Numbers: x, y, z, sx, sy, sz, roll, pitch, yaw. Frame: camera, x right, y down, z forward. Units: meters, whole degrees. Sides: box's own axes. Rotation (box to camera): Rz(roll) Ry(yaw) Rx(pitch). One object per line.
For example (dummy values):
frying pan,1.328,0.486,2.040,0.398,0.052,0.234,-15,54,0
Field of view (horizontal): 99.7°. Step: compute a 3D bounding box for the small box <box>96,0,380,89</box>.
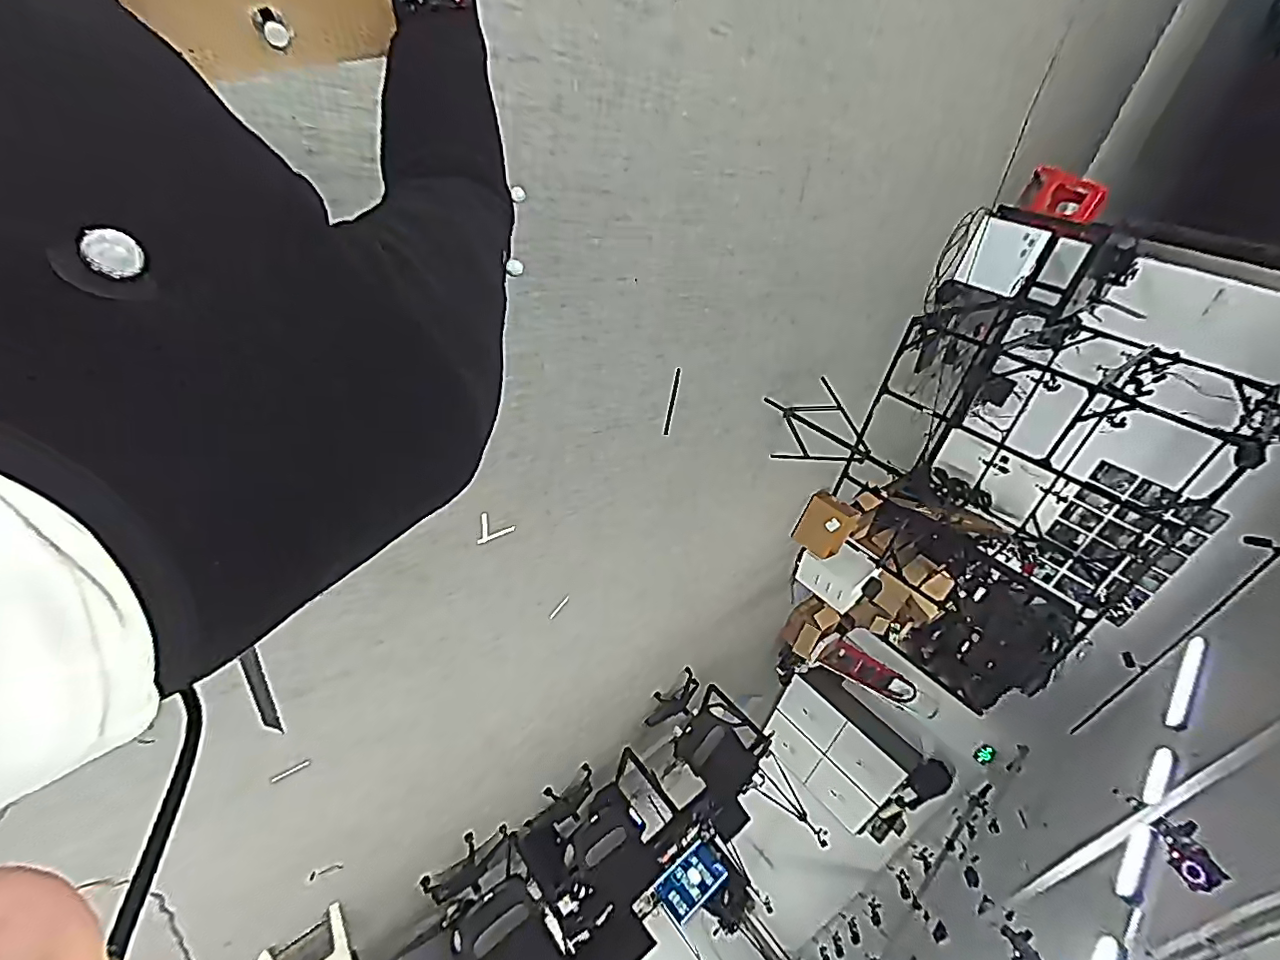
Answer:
small box,-0.291,-0.405,0.356,0.179,0.168,0.176,-21,179,-15
